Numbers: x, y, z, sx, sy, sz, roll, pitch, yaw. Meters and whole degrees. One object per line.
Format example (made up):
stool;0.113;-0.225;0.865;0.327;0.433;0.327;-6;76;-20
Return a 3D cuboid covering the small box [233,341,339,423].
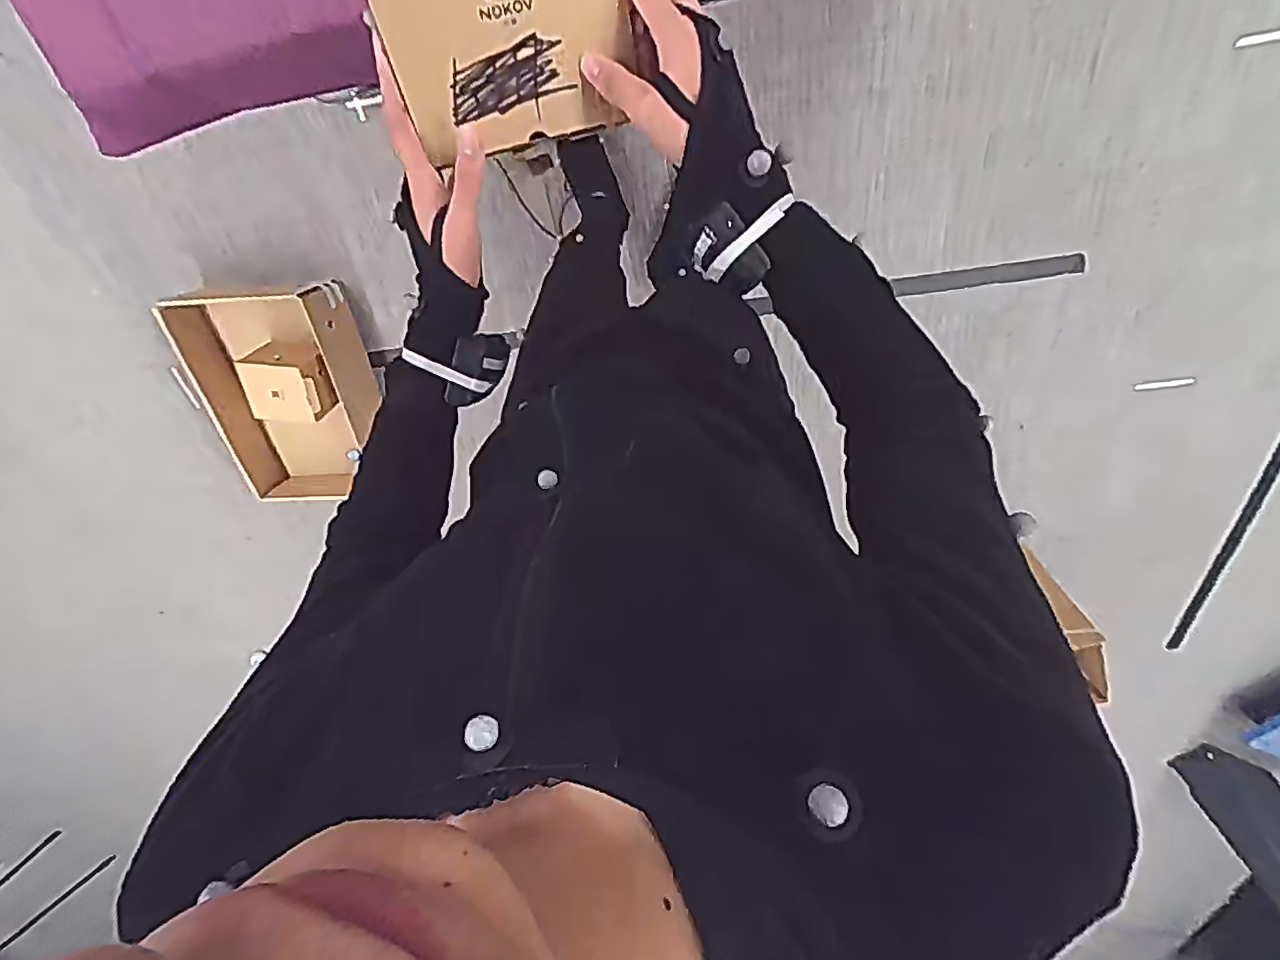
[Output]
small box;-0.969;-0.276;1.505;0.179;0.176;0.168;5;124;-1

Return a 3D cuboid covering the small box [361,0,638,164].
small box;-0.109;-0.359;0.403;0.168;0.176;0.179;-16;127;-4
